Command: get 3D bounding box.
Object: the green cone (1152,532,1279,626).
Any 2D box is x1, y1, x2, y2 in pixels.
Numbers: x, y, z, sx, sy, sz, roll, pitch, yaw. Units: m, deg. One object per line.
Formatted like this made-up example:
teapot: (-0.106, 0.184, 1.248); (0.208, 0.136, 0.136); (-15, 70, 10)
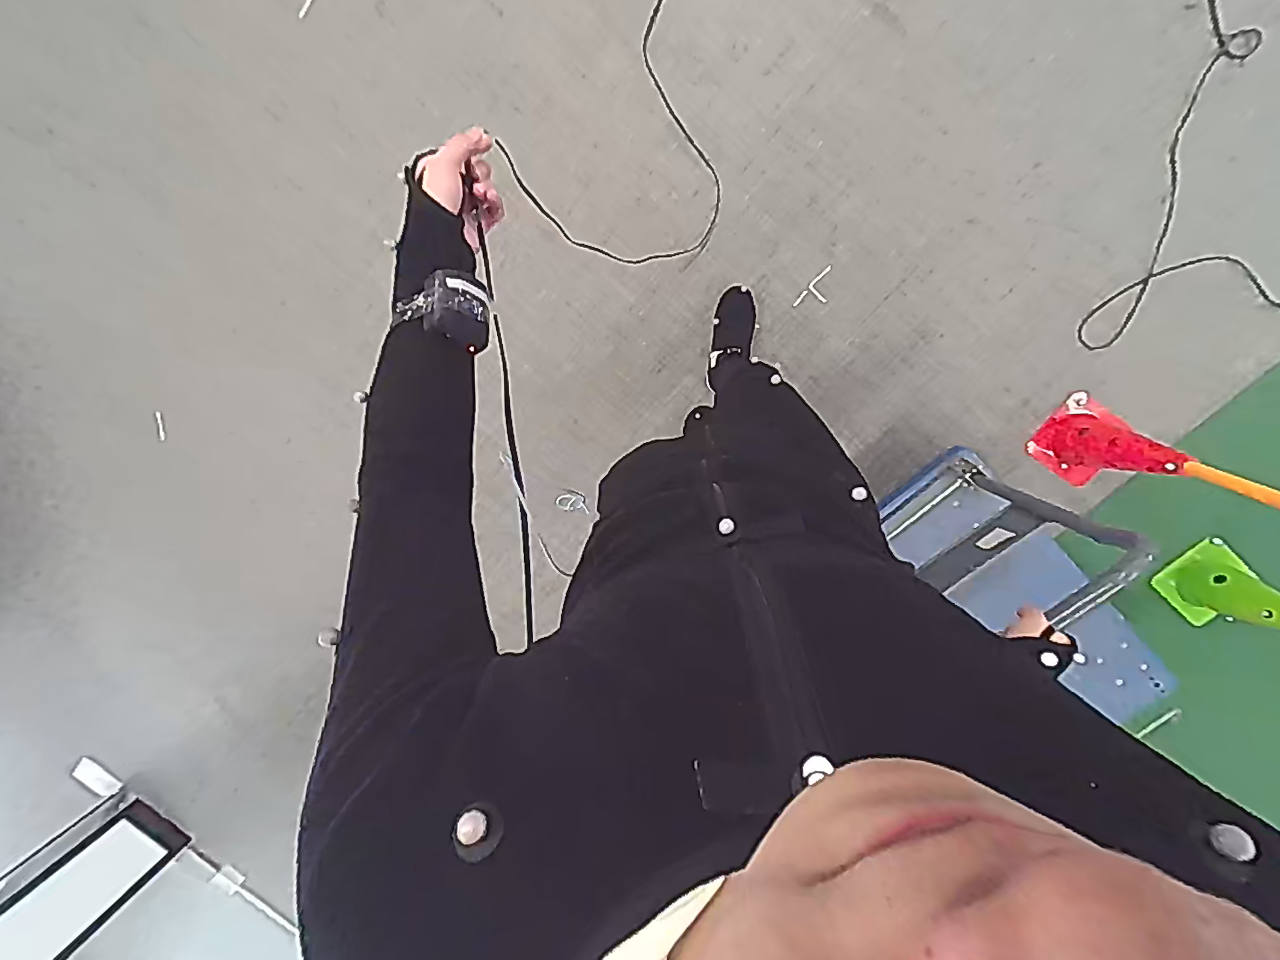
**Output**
green cone: (1.528, 0.303, 1.318); (0.202, 0.368, 0.200); (42, 104, -5)
